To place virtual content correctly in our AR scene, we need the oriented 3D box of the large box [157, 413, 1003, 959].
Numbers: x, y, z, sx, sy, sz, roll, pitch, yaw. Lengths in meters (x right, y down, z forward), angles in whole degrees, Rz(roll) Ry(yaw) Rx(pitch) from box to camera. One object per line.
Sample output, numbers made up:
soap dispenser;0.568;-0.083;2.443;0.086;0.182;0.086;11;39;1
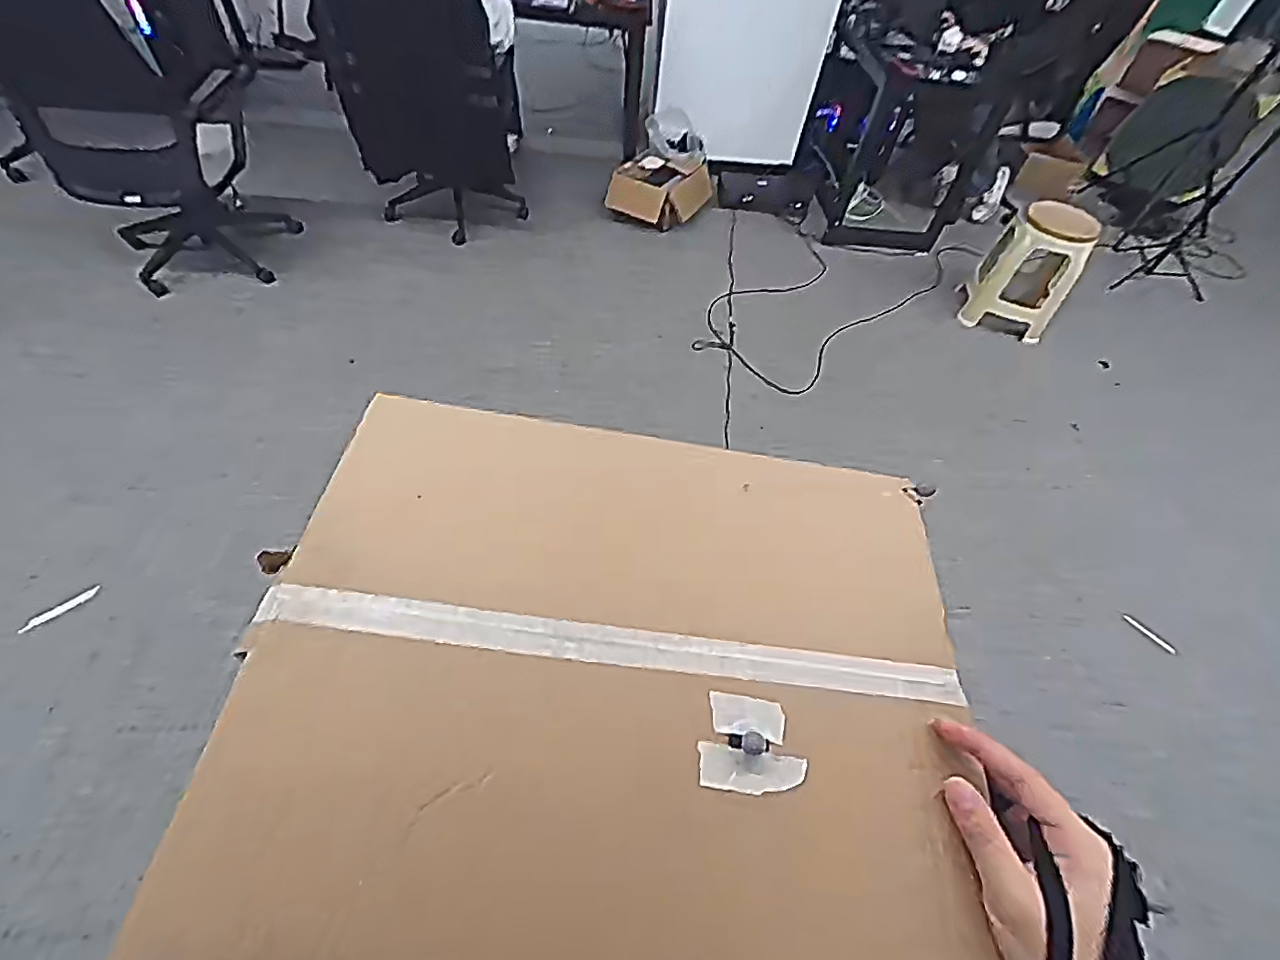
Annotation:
large box;-0.026;0.184;0.451;0.408;0.320;0.320;9;57;-5
